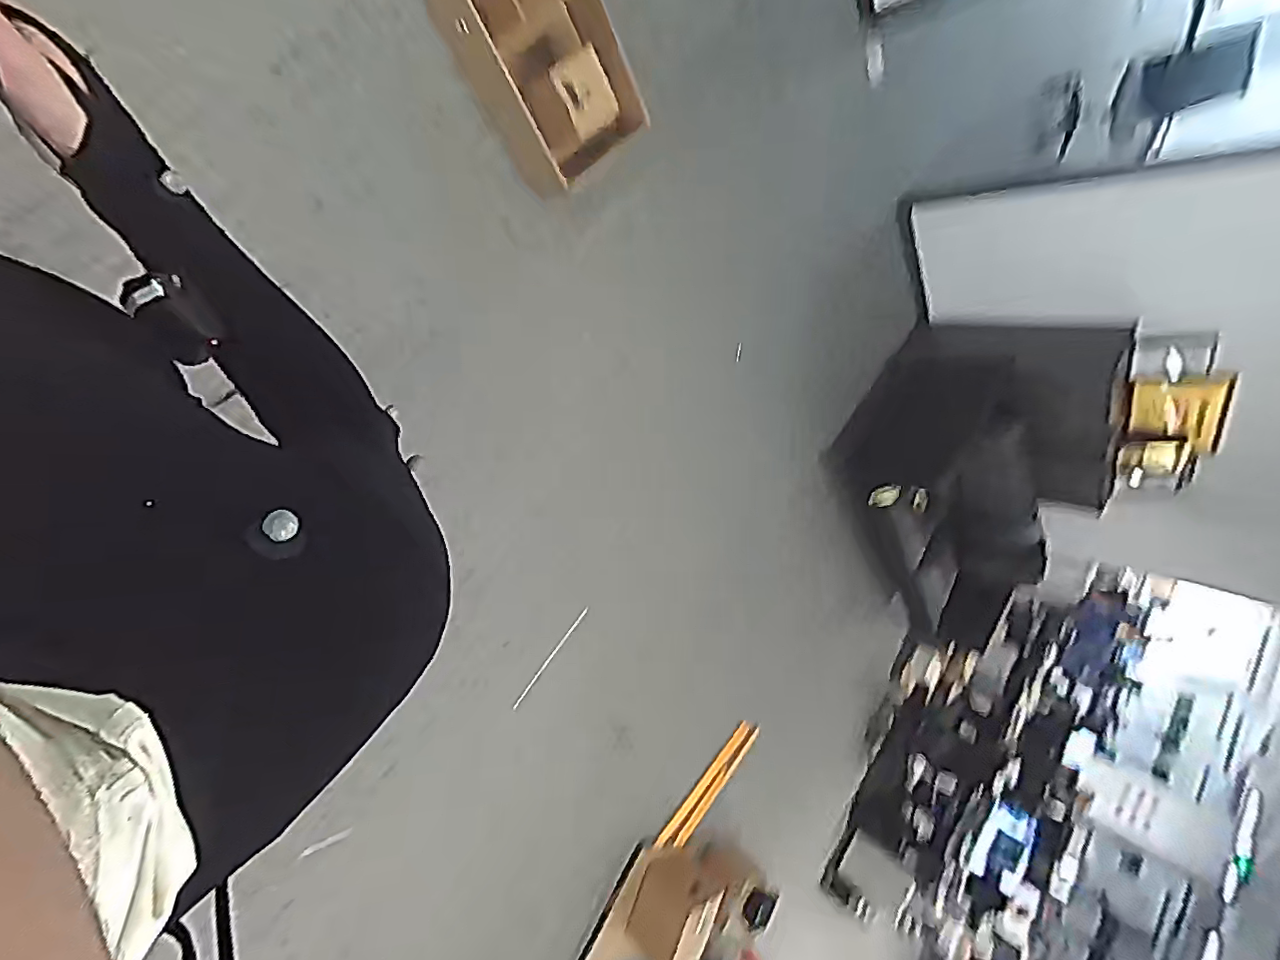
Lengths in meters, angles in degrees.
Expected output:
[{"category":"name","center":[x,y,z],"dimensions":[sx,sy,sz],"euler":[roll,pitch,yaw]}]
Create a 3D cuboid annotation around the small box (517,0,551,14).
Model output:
[{"category":"small box","center":[-0.216,-1.242,1.254],"dimensions":[0.179,0.176,0.168],"euler":[-52,130,-19]}]
